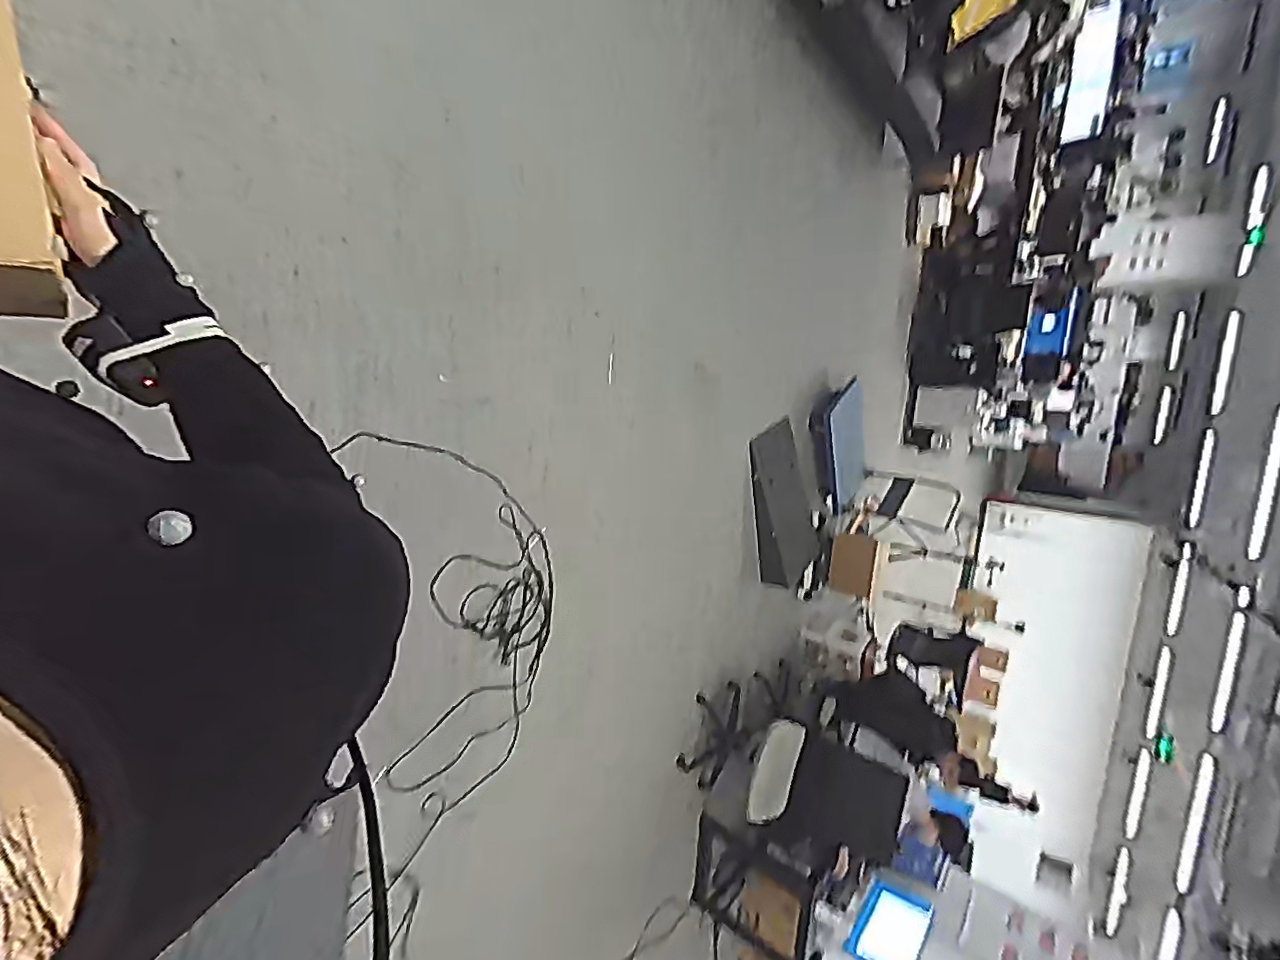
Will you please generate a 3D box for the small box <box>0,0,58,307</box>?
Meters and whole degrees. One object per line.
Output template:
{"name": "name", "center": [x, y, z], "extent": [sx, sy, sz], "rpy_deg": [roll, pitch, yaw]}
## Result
{"name": "small box", "center": [-0.494, -0.223, 0.335], "extent": [0.168, 0.176, 0.179], "rpy_deg": [-9, 96, -46]}
